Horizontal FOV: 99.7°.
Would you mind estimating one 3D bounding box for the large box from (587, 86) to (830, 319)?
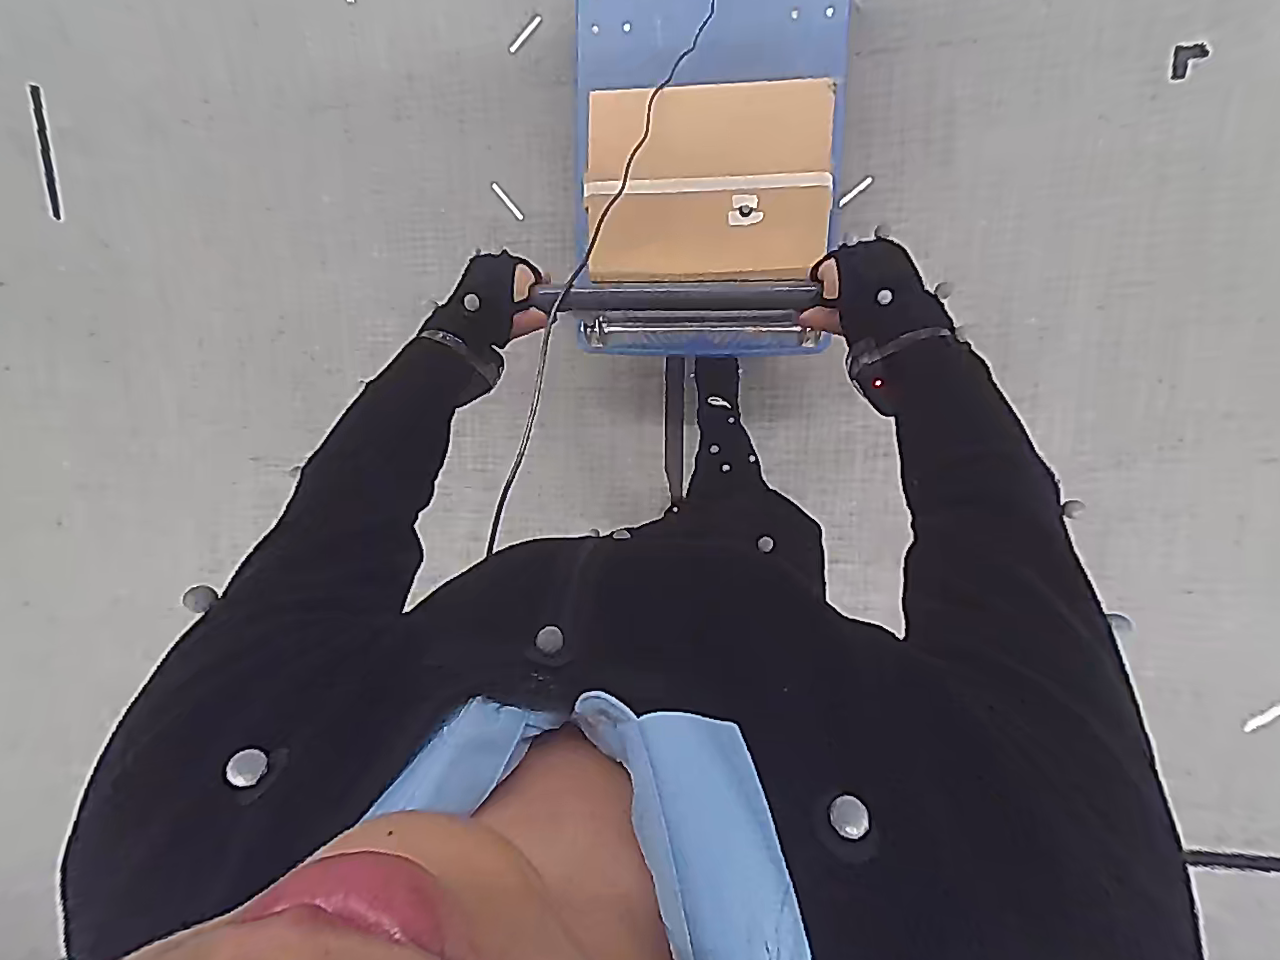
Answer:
[{"bbox_3d":[0.122,-0.502,1.053,0.408,0.320,0.320,1,98,6],"label":"large box"}]
